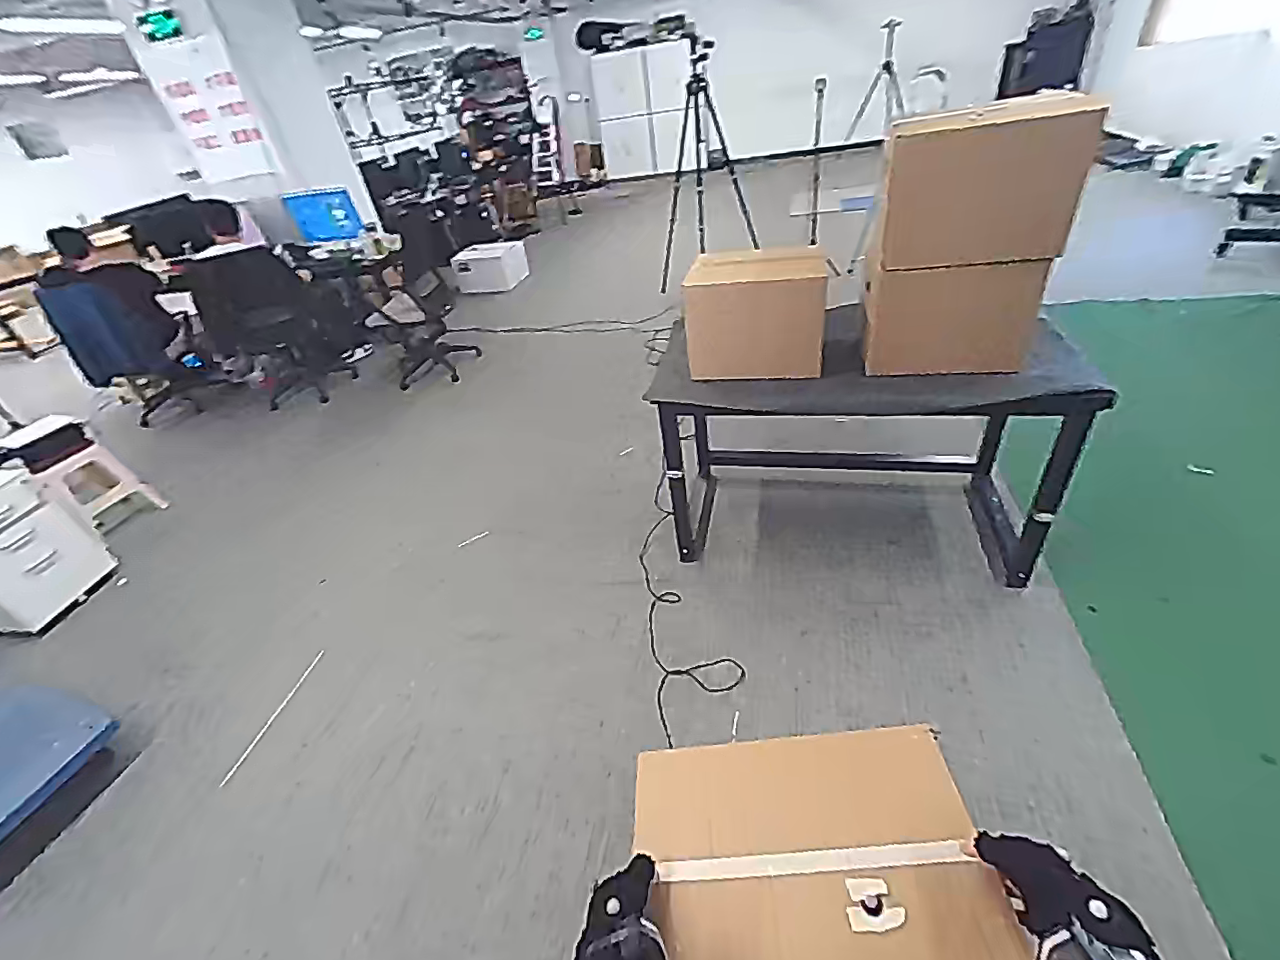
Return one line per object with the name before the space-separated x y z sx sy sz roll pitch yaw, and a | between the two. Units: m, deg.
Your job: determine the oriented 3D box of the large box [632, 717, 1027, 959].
large box | 0.214 0.565 0.722 0.408 0.320 0.320 -9 33 8
